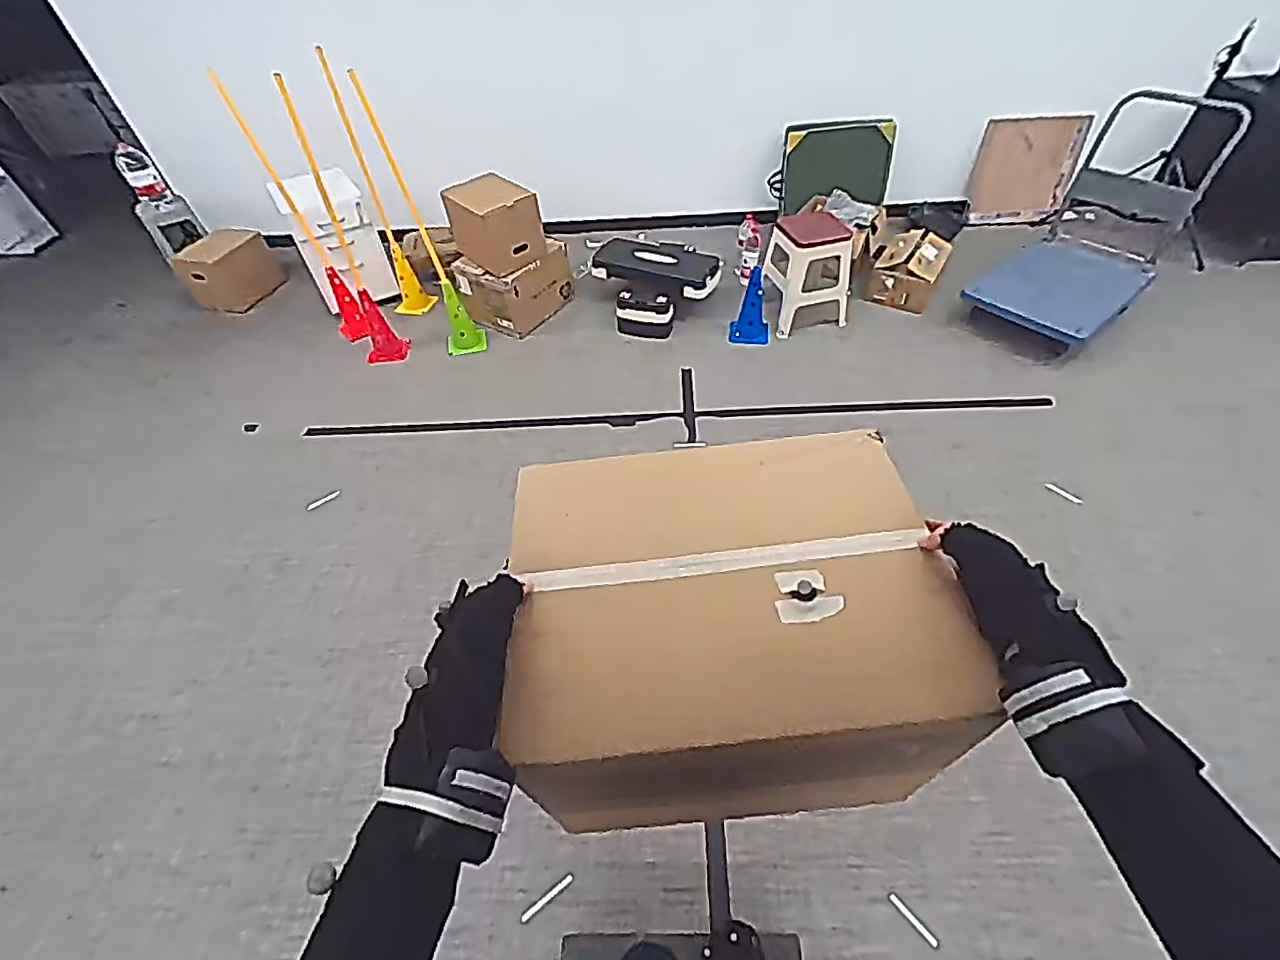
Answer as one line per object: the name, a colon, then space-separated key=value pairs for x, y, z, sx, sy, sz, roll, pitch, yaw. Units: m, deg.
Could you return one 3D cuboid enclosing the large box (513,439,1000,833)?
large box: x=0.090 y=0.188 z=0.638 sx=0.408 sy=0.320 sz=0.320 roll=-7 pitch=49 yaw=0
